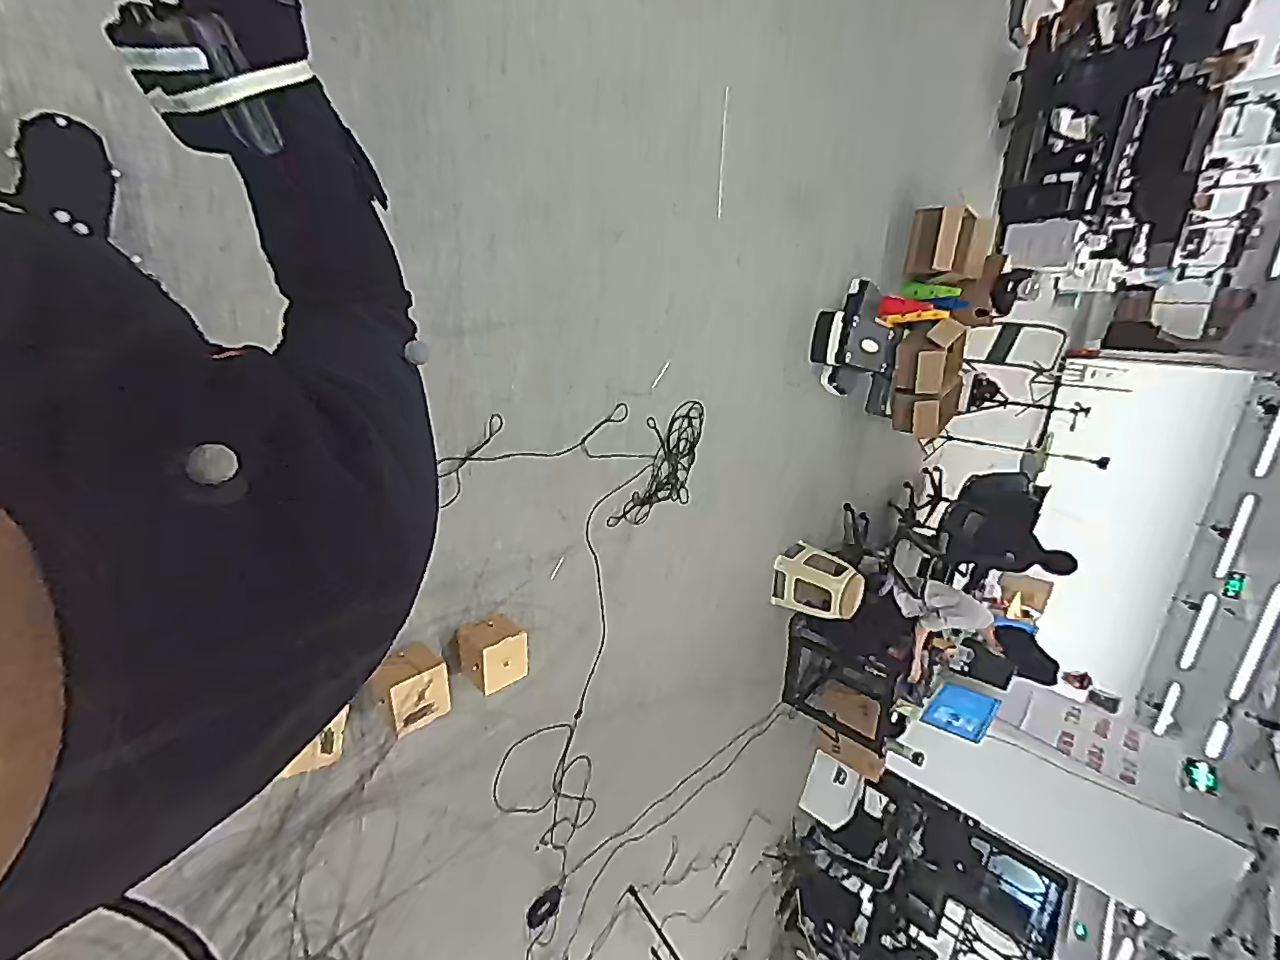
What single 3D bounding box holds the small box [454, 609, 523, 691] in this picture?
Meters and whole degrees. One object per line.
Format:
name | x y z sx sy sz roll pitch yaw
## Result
small box | -0.509 0.565 1.816 0.168 0.176 0.179 -15 114 -45
